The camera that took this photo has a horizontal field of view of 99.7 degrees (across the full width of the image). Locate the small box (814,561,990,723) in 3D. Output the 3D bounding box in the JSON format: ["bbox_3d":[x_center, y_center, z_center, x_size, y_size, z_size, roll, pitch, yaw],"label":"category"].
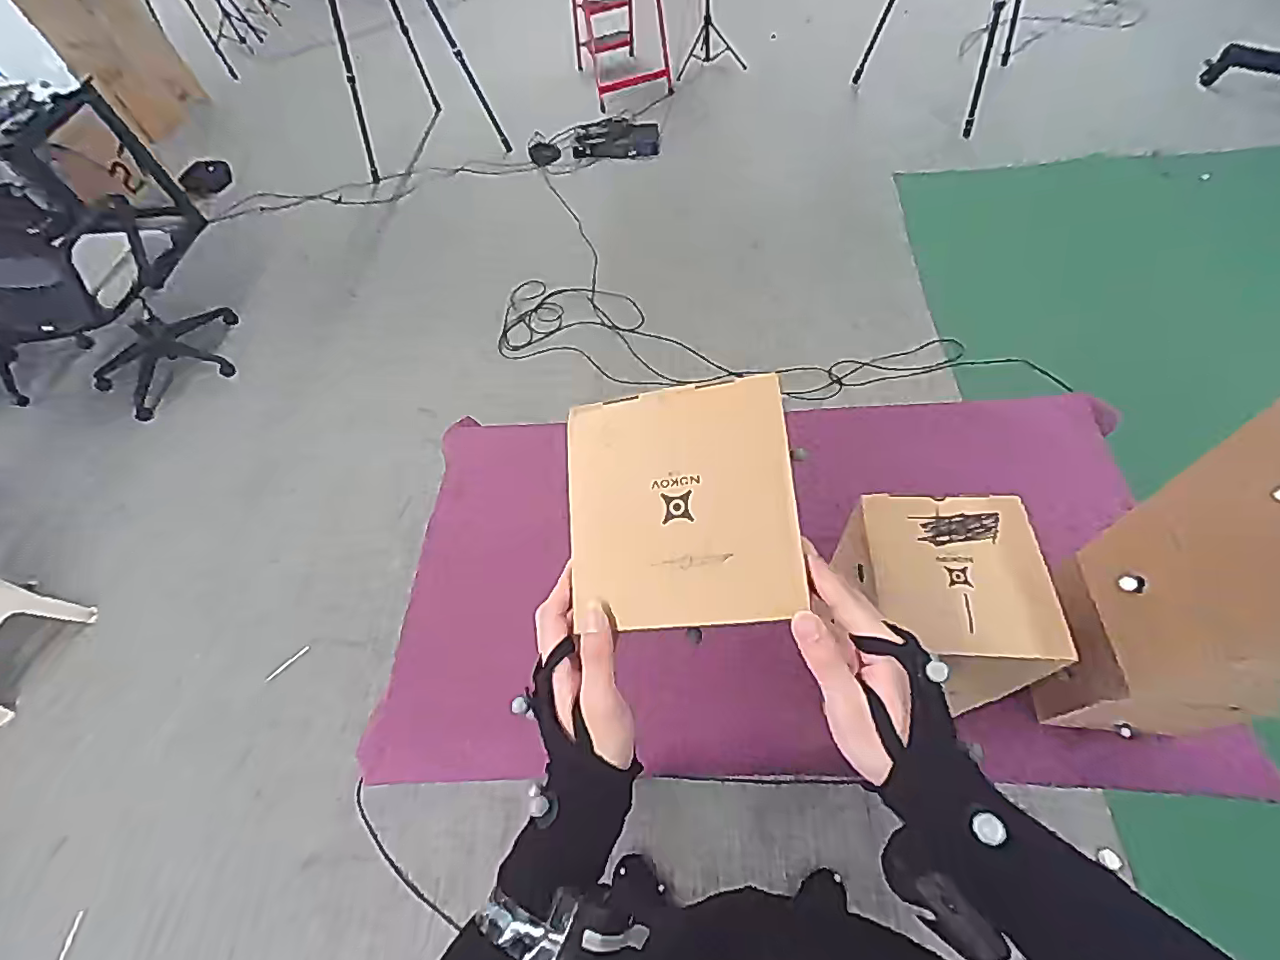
[{"bbox_3d":[0.340,0.226,0.740,0.168,0.176,0.179,0,56,8],"label":"small box"}]

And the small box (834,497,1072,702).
[{"bbox_3d":[0.323,0.135,0.605,0.168,0.176,0.179,0,57,9],"label":"small box"}]

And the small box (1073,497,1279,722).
[{"bbox_3d":[0.601,0.137,0.562,0.168,0.176,0.179,1,57,10],"label":"small box"}]

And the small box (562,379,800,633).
[{"bbox_3d":[0.041,0.036,0.465,0.168,0.176,0.179,-7,76,14],"label":"small box"}]
